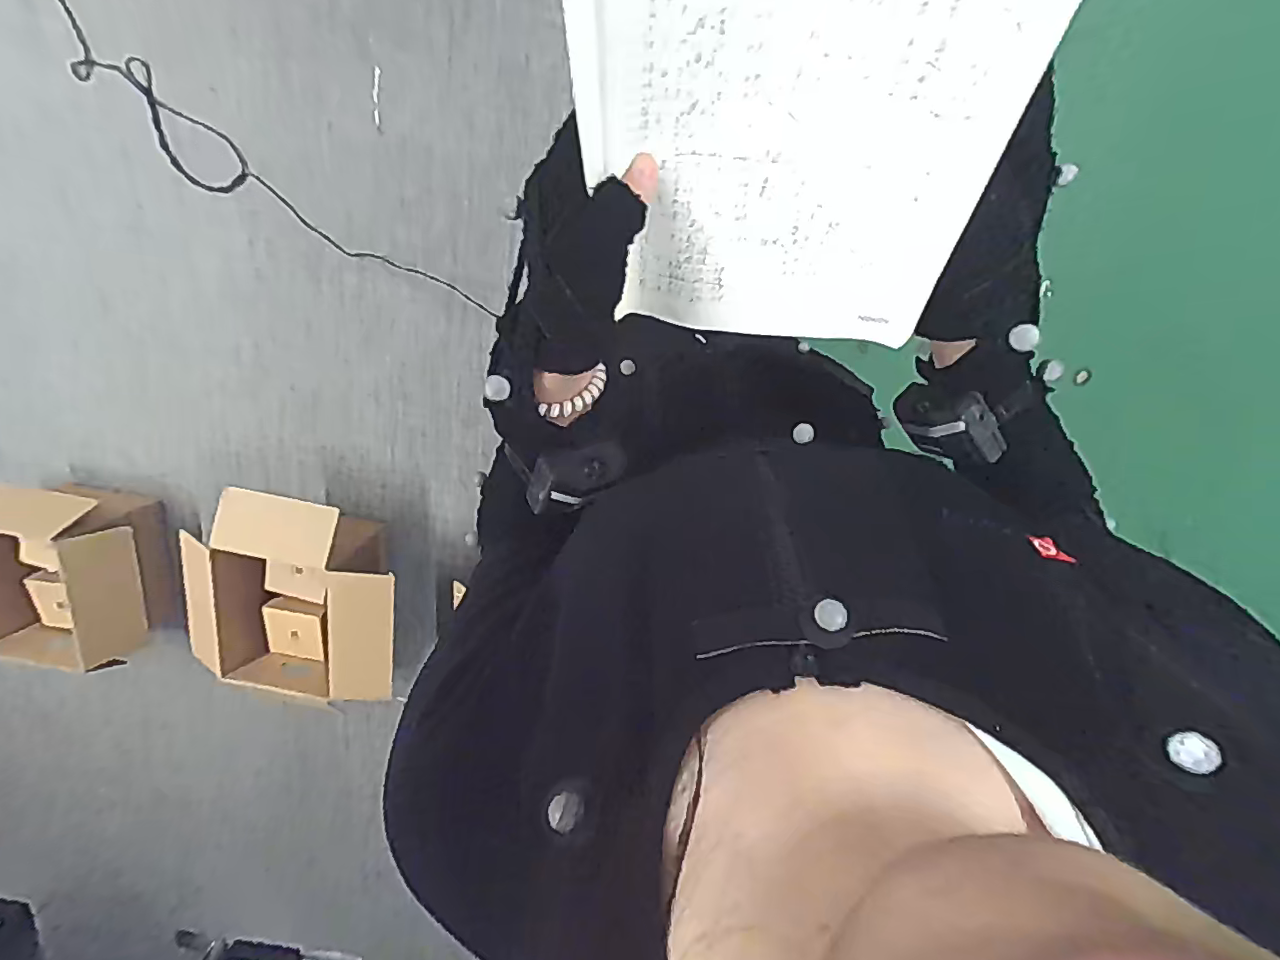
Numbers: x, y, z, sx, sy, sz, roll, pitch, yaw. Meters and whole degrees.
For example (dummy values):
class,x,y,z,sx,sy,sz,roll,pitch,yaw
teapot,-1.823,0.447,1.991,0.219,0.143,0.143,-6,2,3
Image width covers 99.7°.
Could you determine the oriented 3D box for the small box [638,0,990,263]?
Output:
class,x,y,z,sx,sy,sz,roll,pitch,yaw
small box,0.087,-0.249,0.332,0.168,0.176,0.179,-2,126,7
